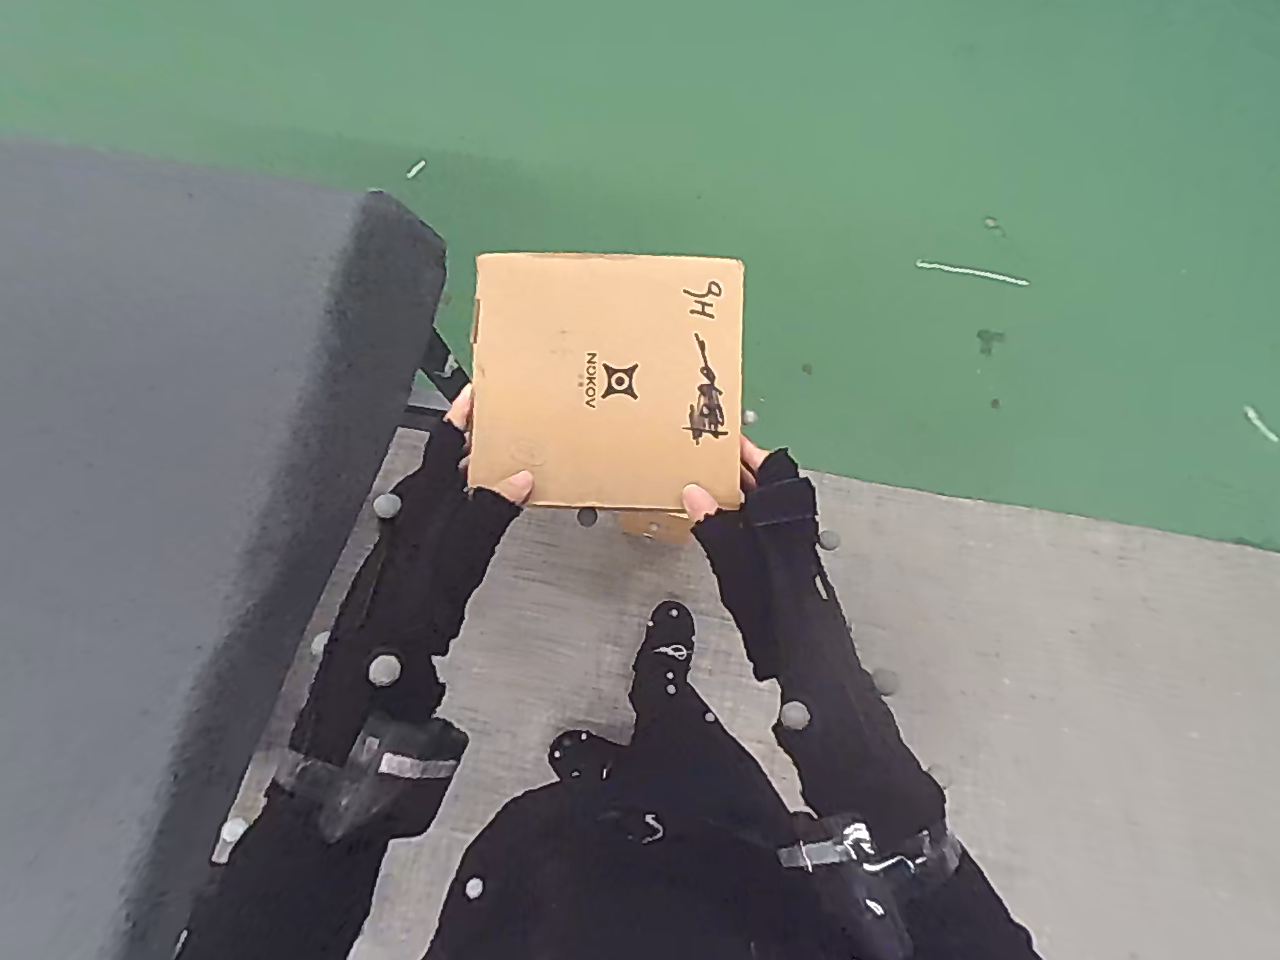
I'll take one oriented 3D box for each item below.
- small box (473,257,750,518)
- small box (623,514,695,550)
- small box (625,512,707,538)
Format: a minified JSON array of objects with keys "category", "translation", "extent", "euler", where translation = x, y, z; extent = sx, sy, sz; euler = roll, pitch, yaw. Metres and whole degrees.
[{"category":"small box","translation":[-0.016,-0.058,0.436],"extent":[0.179,0.176,0.168],"euler":[3,85,1]},{"category":"small box","translation":[0.059,0.054,1.270],"extent":[0.168,0.176,0.179],"euler":[13,77,4]},{"category":"small box","translation":[0.062,0.009,1.112],"extent":[0.168,0.176,0.179],"euler":[14,76,4]}]
